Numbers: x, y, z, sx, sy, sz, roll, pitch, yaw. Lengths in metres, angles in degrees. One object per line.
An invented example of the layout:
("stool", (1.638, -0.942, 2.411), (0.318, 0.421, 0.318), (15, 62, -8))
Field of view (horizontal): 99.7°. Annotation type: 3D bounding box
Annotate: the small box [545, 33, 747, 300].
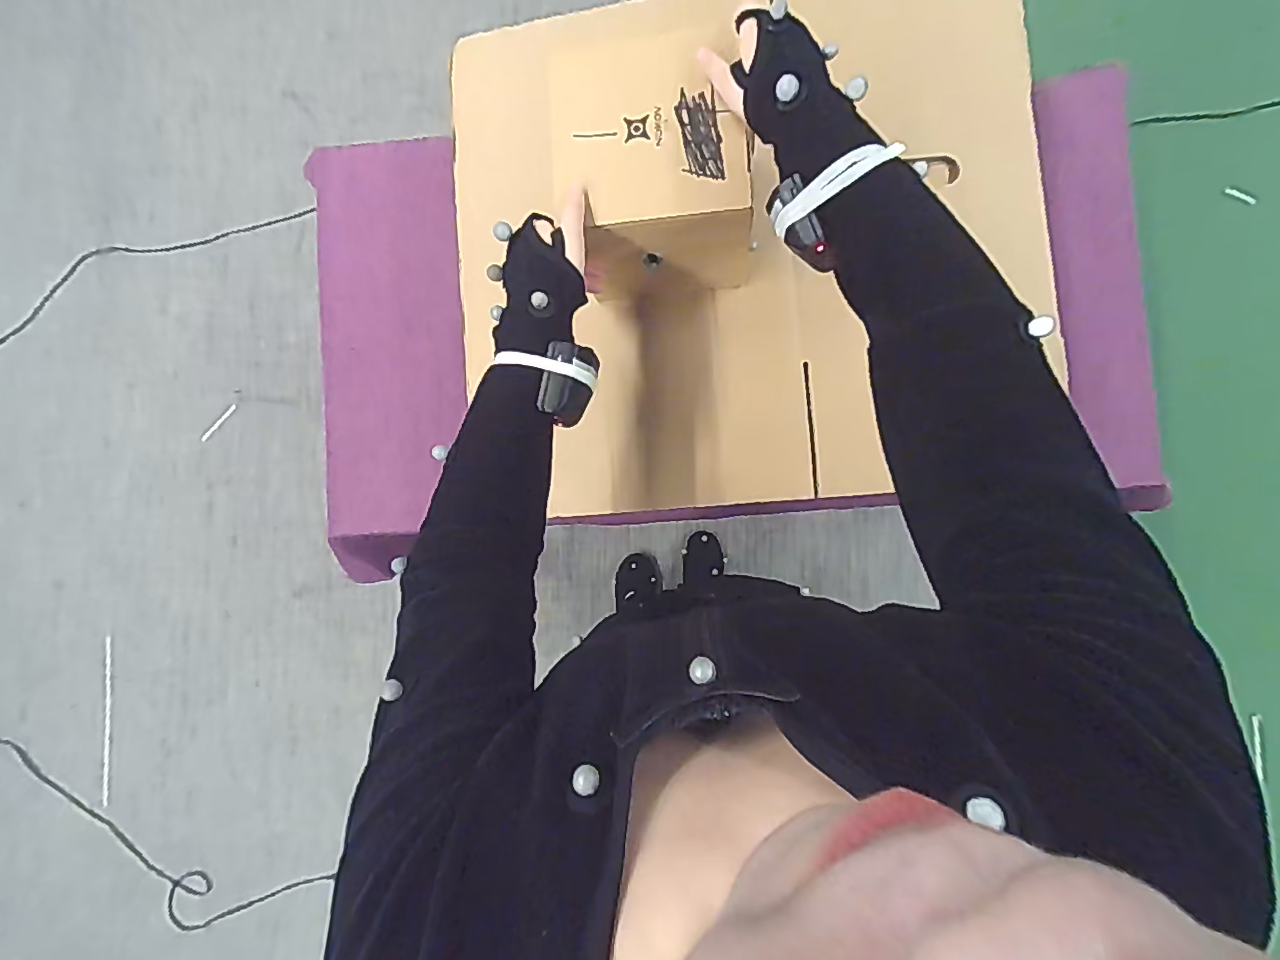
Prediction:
("small box", (0.015, -0.299, 0.555), (0.179, 0.176, 0.168), (-3, 87, 10))
